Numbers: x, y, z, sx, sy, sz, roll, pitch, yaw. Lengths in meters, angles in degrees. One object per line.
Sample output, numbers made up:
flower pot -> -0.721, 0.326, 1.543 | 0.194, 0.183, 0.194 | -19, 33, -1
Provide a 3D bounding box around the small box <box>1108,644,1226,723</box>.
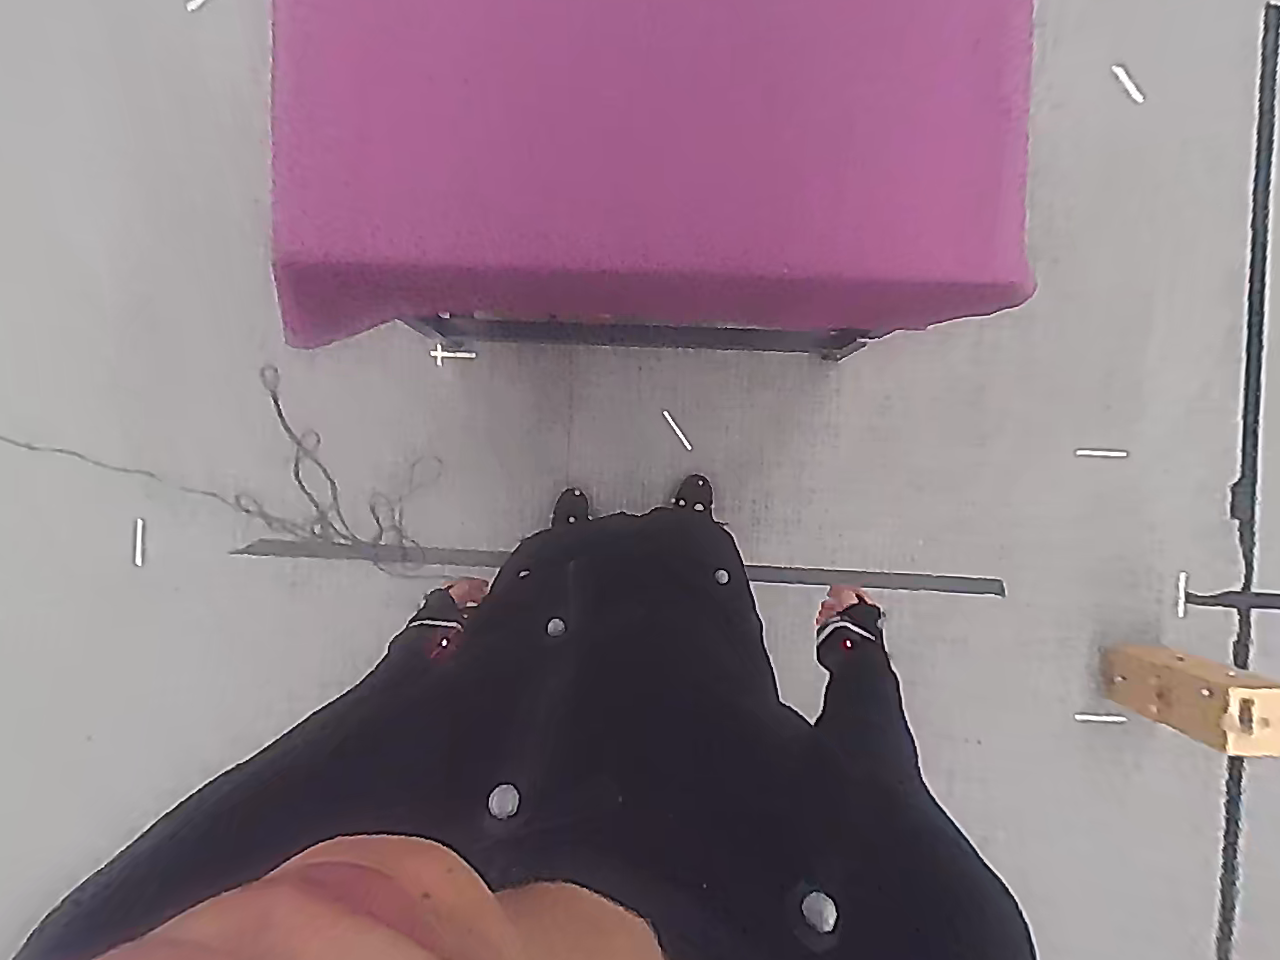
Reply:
small box -> 1.501, 0.576, 1.547 | 0.179, 0.176, 0.168 | -1, 92, 1
